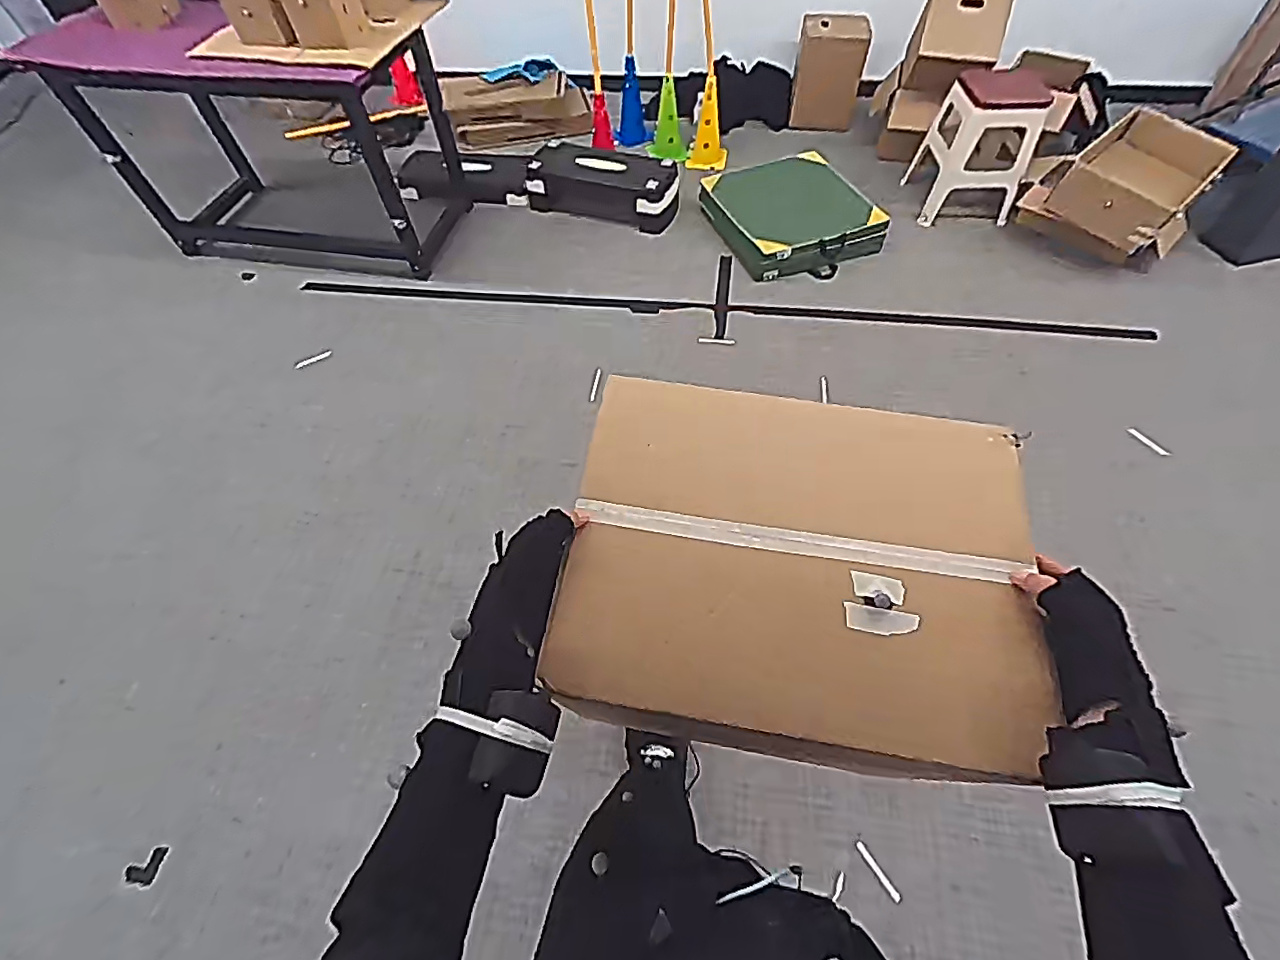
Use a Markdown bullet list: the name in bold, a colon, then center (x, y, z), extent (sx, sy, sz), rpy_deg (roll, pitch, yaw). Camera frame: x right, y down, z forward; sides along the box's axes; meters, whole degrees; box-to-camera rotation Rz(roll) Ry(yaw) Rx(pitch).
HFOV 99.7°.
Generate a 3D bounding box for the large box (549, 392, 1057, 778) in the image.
- **large box**: center (0.140, 0.134, 0.619), extent (0.408, 0.320, 0.320), rpy_deg (8, 64, 4)
